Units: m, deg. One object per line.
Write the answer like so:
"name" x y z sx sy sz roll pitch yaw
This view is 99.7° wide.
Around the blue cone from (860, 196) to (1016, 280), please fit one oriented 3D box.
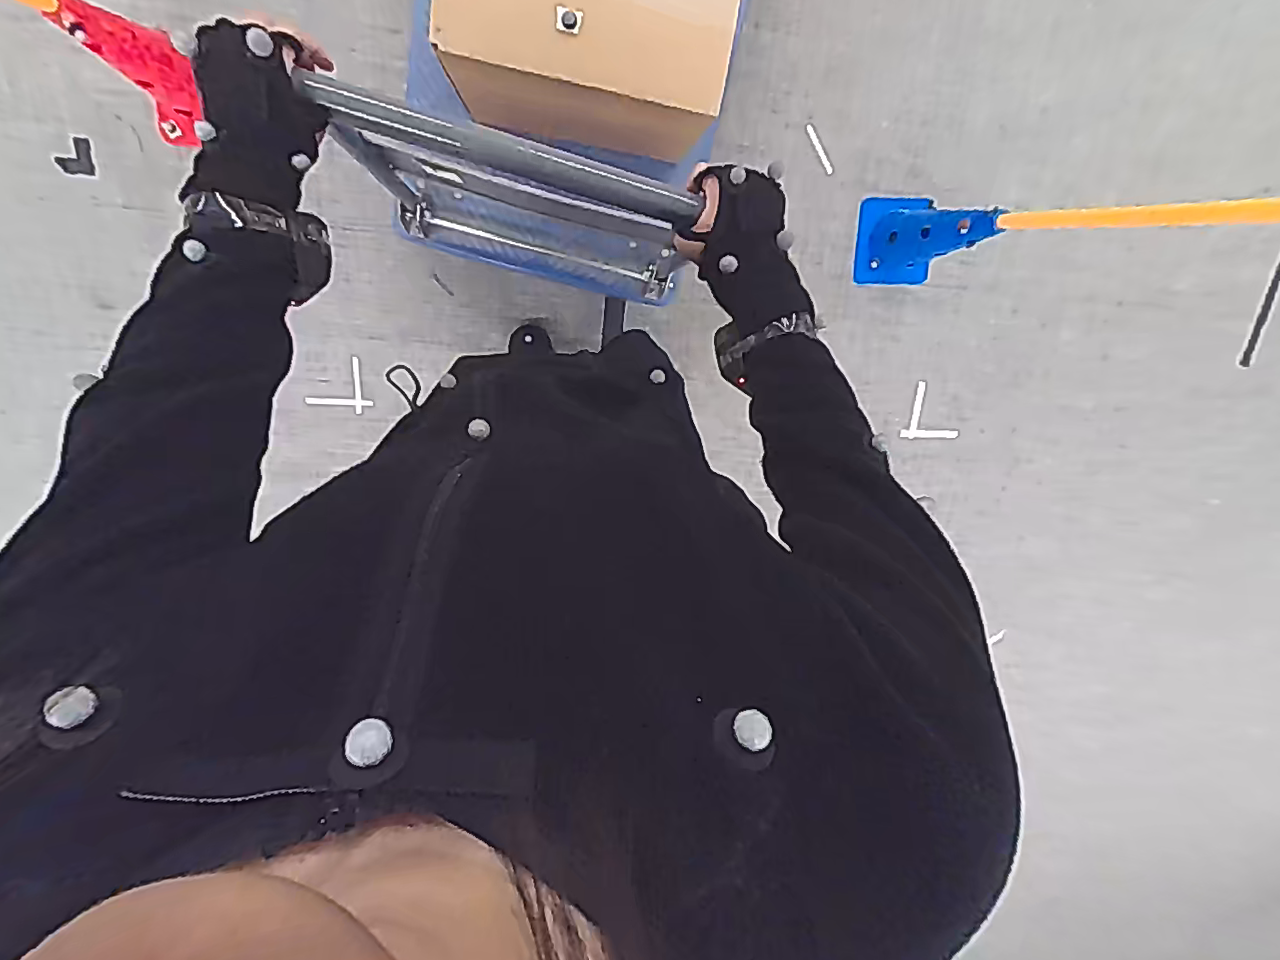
"blue cone" 0.662 -0.551 1.185 0.193 0.380 0.192 -1 107 -8
